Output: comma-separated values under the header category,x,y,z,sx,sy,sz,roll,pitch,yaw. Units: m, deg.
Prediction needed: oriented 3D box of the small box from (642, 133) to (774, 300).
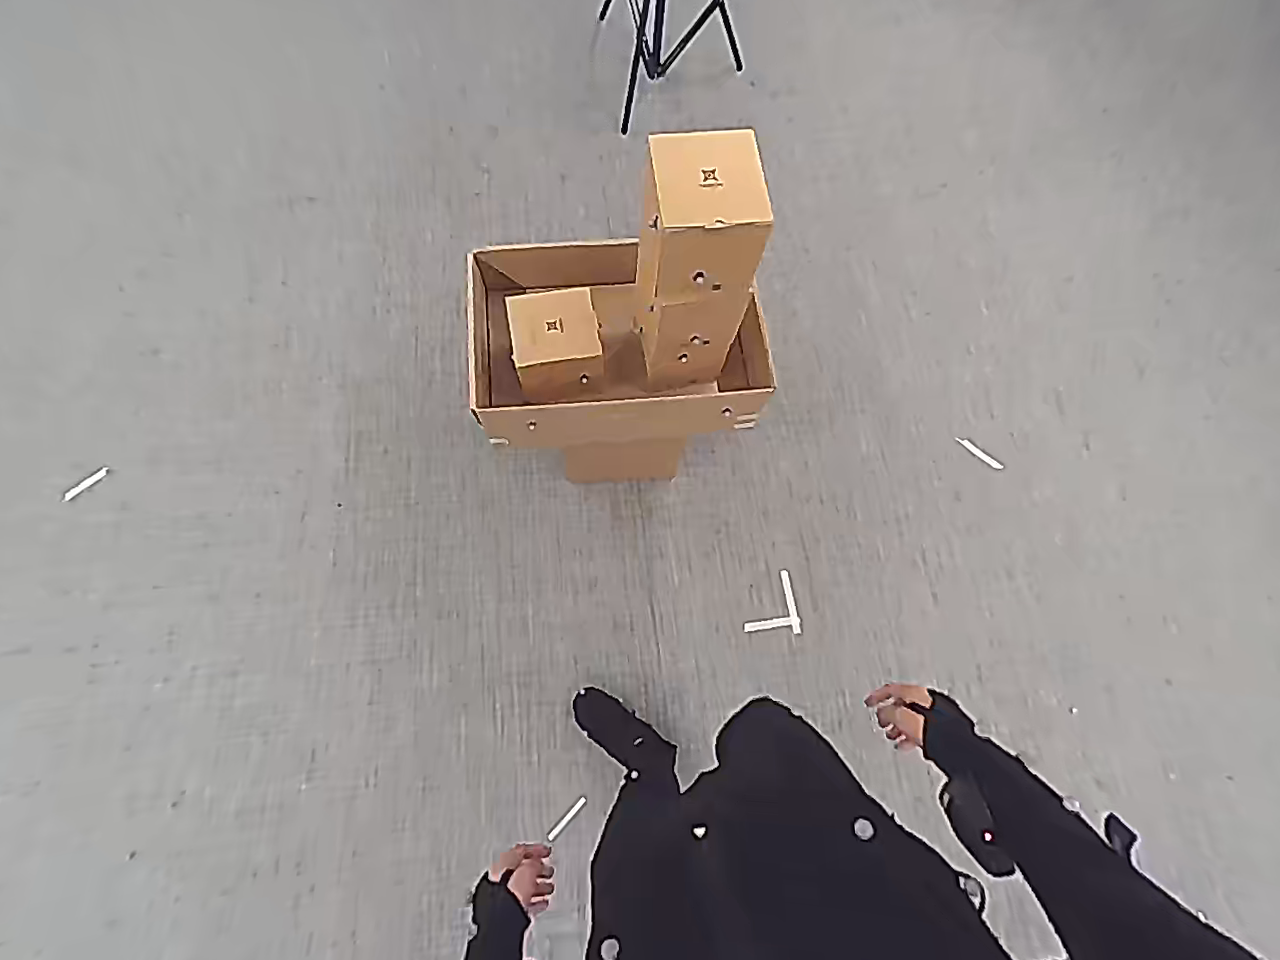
category,x,y,z,sx,sy,sz,roll,pitch,yaw
small box,0.097,-0.416,0.868,0.168,0.176,0.179,-6,74,-5
